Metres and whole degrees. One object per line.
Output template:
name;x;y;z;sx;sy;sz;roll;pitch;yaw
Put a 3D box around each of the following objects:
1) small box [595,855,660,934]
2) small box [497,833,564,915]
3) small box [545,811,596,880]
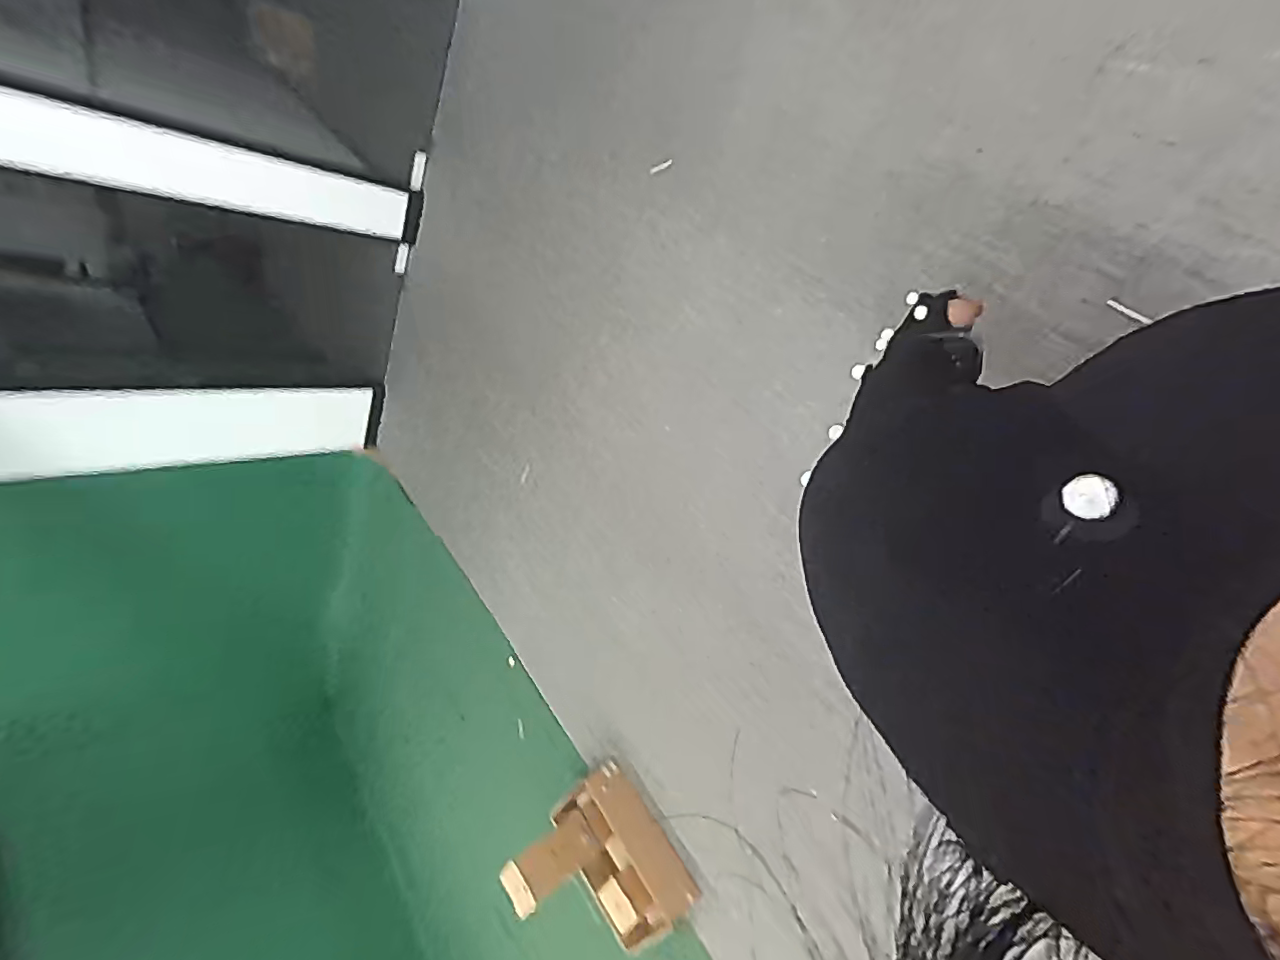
small box;-0.048;1.689;2.209;0.168;0.176;0.179;46;123;30
small box;-0.417;1.510;2.075;0.168;0.176;0.179;47;125;26
small box;-0.308;1.493;2.196;0.168;0.176;0.179;50;124;24
